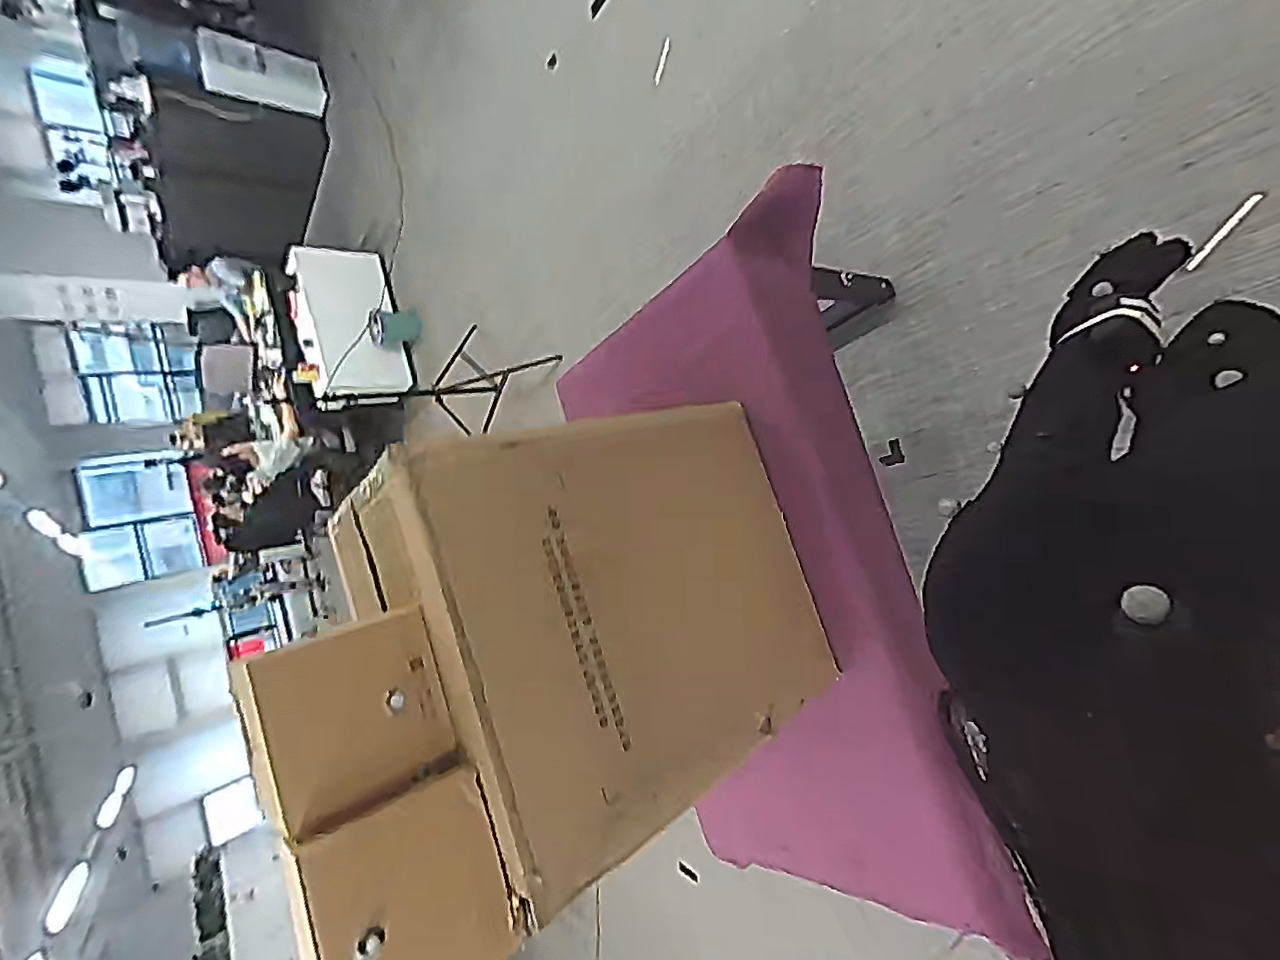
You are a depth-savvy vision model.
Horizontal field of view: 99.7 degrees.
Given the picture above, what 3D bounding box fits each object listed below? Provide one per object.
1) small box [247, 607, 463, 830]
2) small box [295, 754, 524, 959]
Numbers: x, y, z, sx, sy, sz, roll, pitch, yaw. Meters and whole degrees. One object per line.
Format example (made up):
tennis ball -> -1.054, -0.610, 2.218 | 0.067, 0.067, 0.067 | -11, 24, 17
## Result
small box -> -0.329, 0.256, 0.623 | 0.179, 0.176, 0.168 | -22, 84, 47
small box -> -0.242, 0.419, 0.568 | 0.168, 0.176, 0.179 | -29, 75, 48
